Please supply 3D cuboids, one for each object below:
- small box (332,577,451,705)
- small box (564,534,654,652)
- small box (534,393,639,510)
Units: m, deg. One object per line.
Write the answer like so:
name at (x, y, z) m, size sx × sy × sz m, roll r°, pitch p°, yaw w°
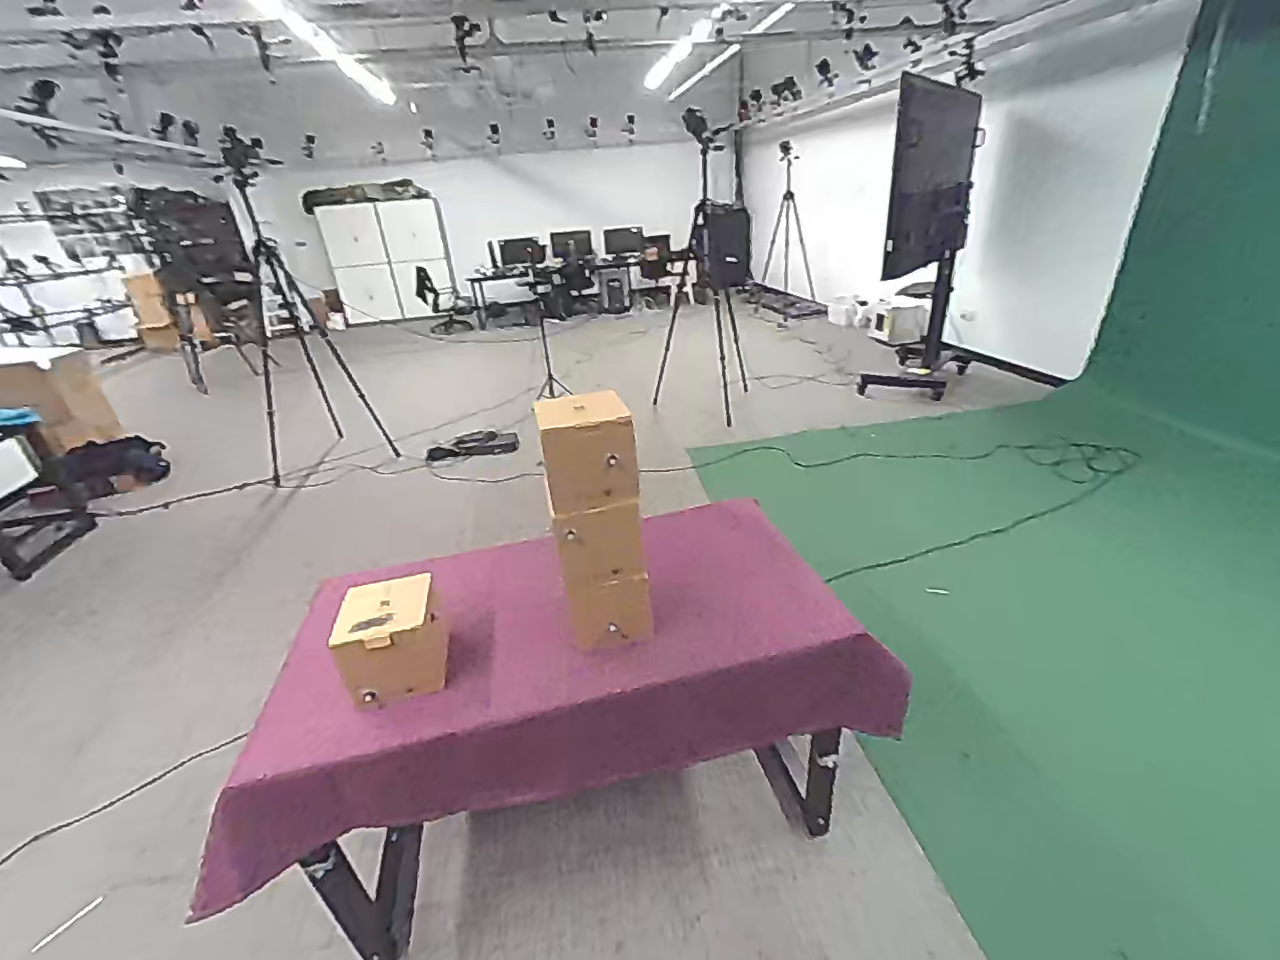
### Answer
small box at (-0.487, 0.327, 1.090) m, size 0.168 × 0.176 × 0.179 m, roll -11°, pitch 26°, yaw -10°
small box at (-0.070, 0.242, 1.174) m, size 0.168 × 0.176 × 0.179 m, roll -10°, pitch 27°, yaw -7°
small box at (-0.103, -0.052, 1.033) m, size 0.168 × 0.176 × 0.179 m, roll -10°, pitch 26°, yaw -10°
